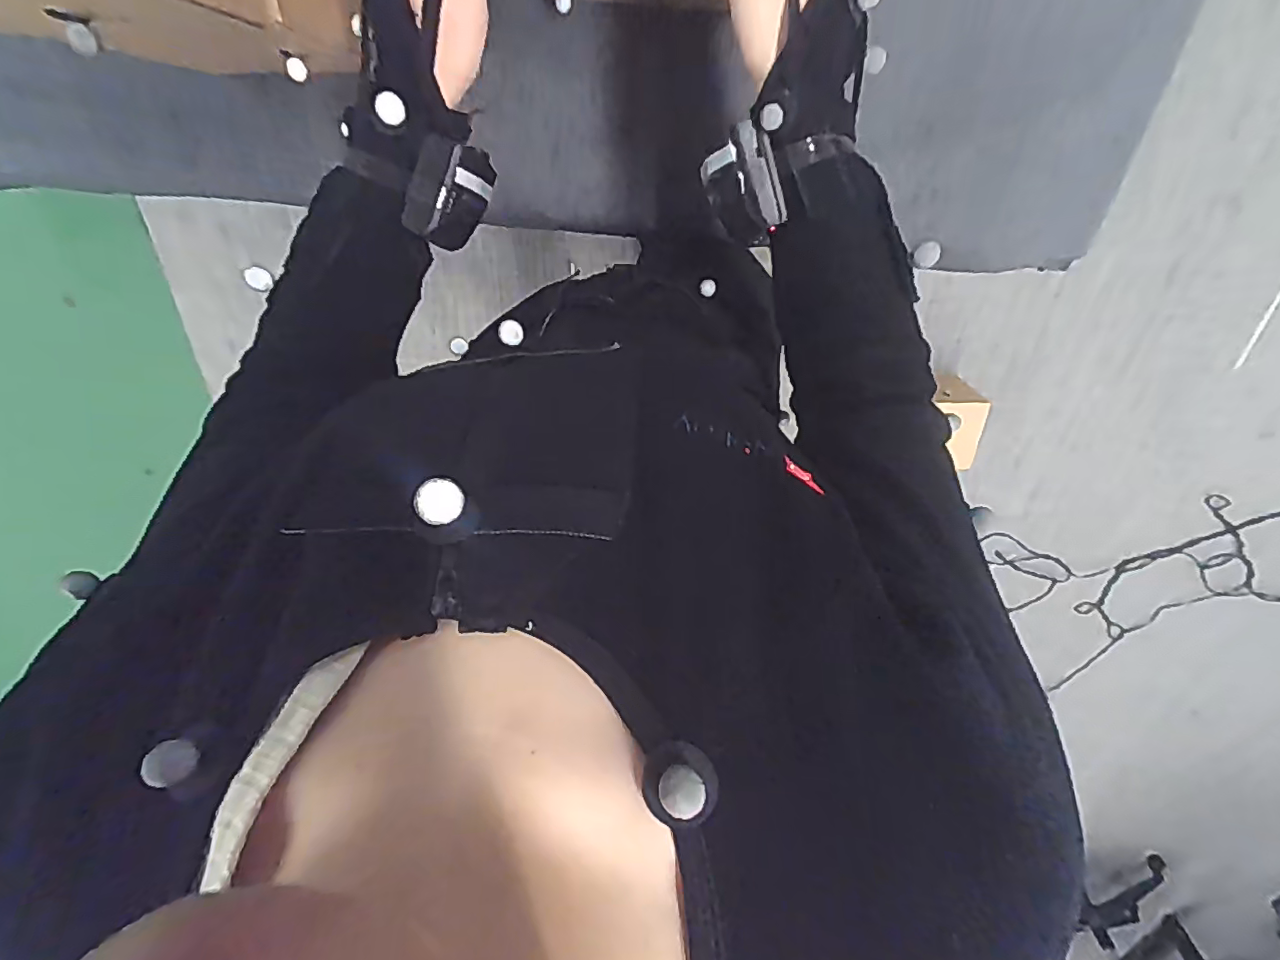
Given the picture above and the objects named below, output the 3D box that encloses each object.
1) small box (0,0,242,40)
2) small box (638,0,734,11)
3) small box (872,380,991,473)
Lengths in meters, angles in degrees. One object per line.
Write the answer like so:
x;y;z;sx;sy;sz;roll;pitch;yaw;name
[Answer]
-0.305;-0.298;0.216;0.179;0.176;0.168;2;120;4;small box
-0.004;-0.408;0.315;0.168;0.176;0.179;6;120;1;small box
0.668;-0.129;1.261;0.179;0.176;0.168;1;120;5;small box
